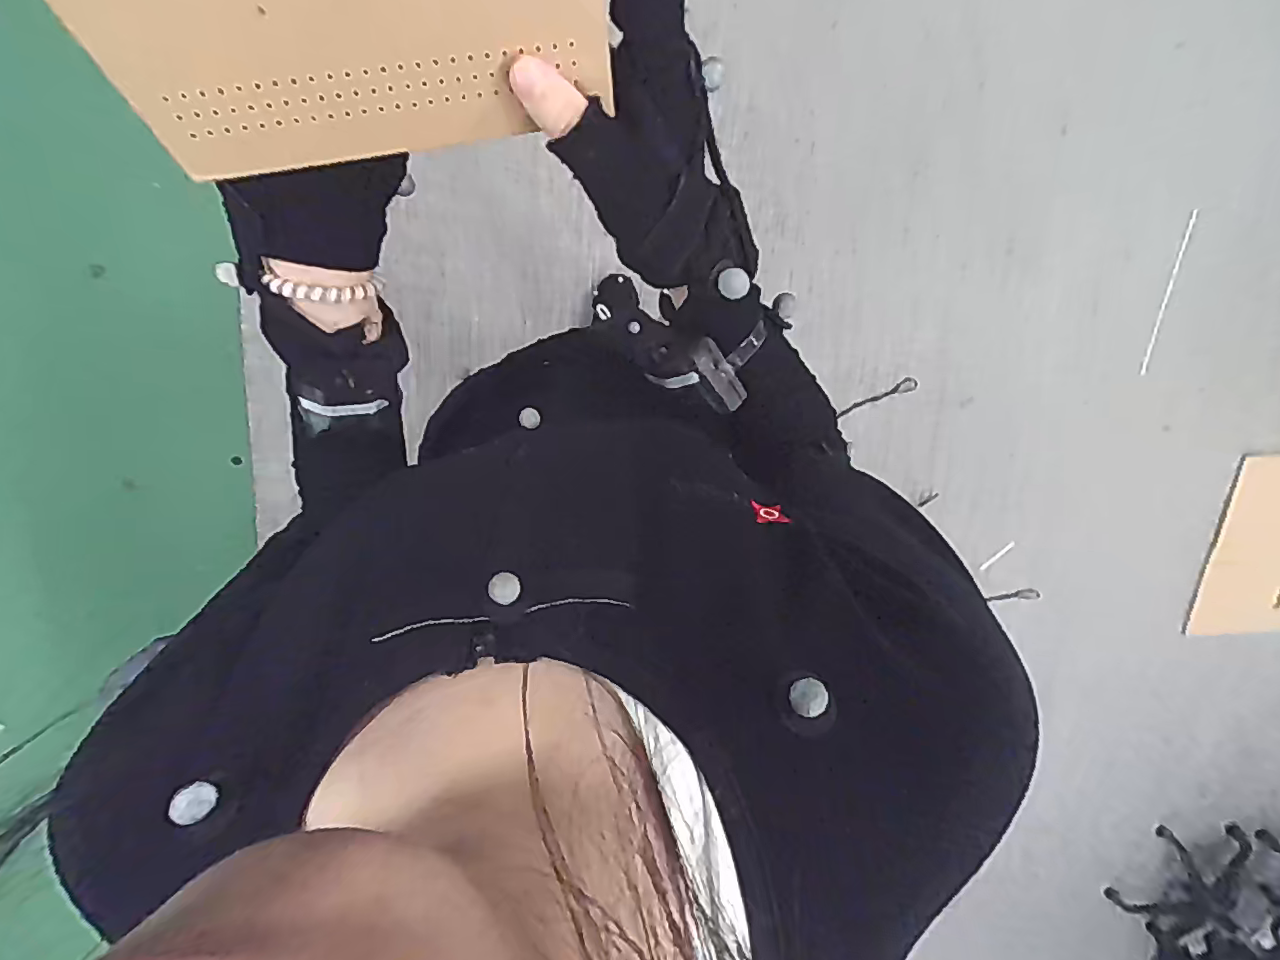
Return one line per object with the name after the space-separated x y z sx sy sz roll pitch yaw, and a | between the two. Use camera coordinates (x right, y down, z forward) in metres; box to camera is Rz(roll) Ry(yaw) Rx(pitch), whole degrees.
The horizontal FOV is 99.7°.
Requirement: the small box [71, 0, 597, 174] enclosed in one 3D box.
-0.114 -0.246 0.194 0.179 0.176 0.168 -12 64 -3 | small box
